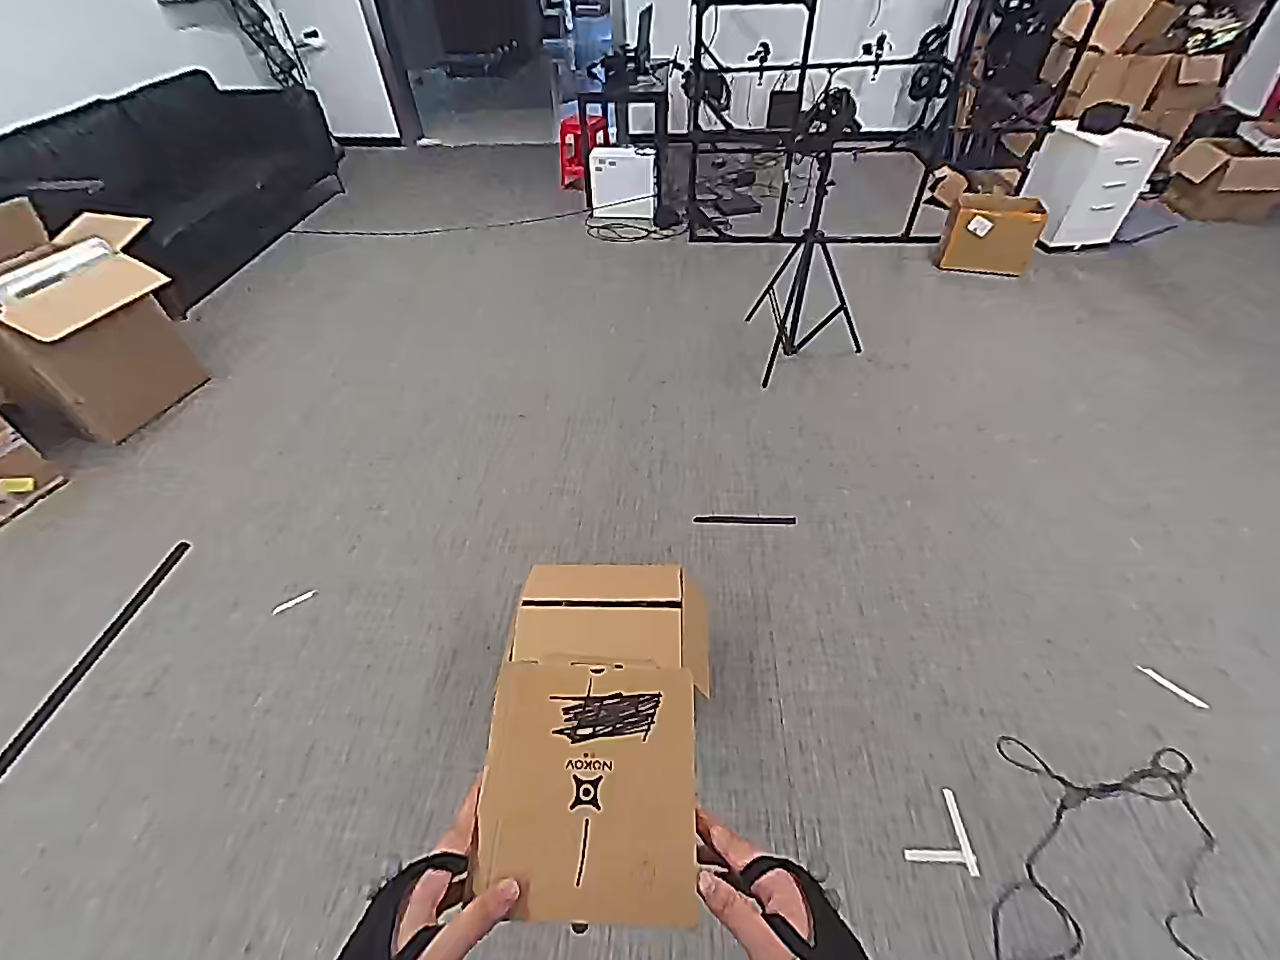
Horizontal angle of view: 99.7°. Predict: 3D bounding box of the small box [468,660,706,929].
[{"bbox_3d":[-0.036,0.273,0.478,0.168,0.176,0.179,2,56,0],"label":"small box"}]
